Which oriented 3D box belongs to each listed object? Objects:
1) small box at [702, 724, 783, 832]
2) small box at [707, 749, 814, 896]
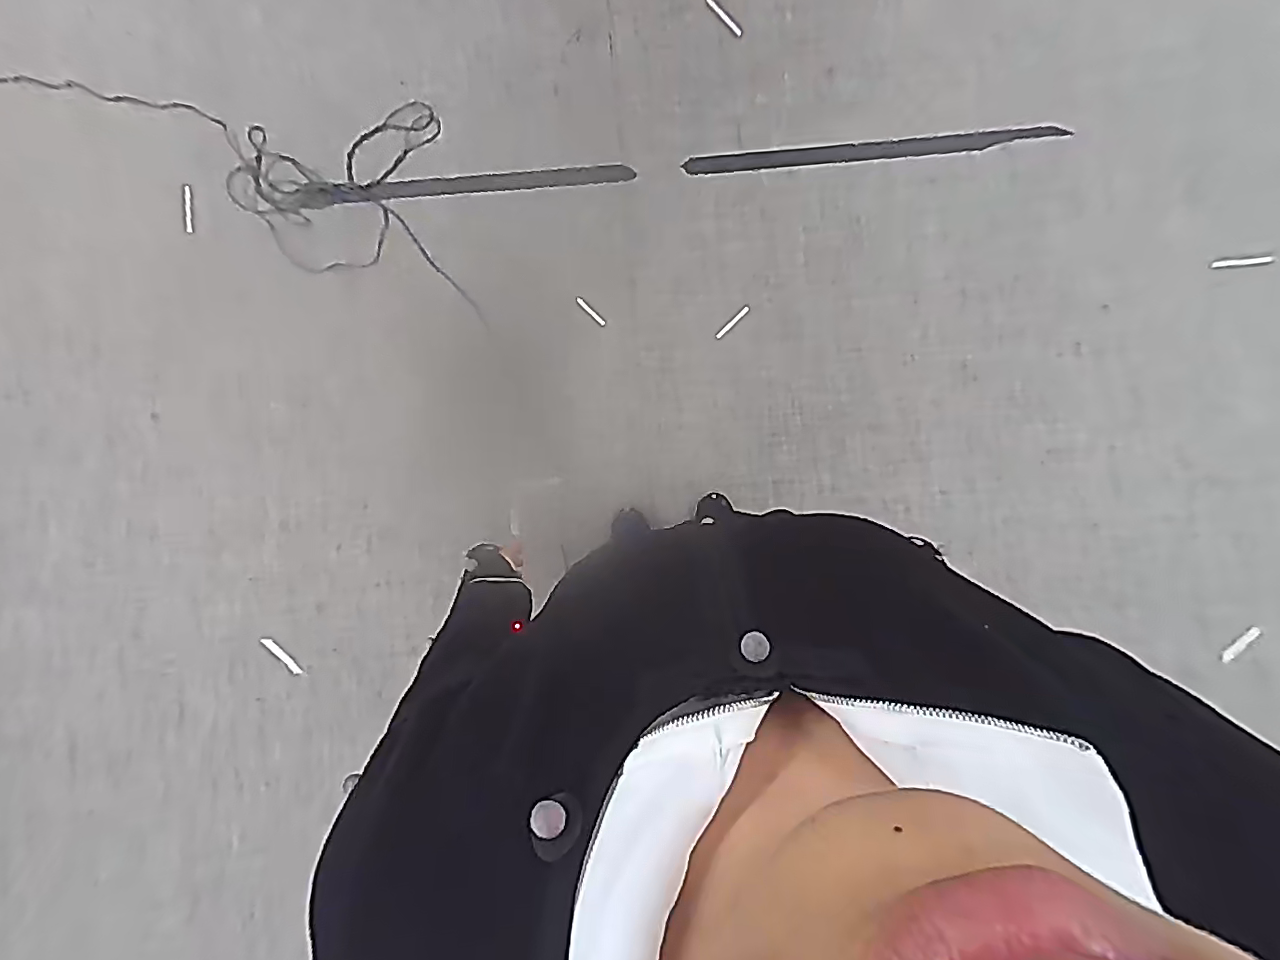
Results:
[{"bbox_3d":[0.230,0.649,1.211,0.168,0.176,0.179,-6,89,2],"label":"small box"},{"bbox_3d":[0.226,0.653,1.047,0.168,0.176,0.179,-8,89,3],"label":"small box"}]
